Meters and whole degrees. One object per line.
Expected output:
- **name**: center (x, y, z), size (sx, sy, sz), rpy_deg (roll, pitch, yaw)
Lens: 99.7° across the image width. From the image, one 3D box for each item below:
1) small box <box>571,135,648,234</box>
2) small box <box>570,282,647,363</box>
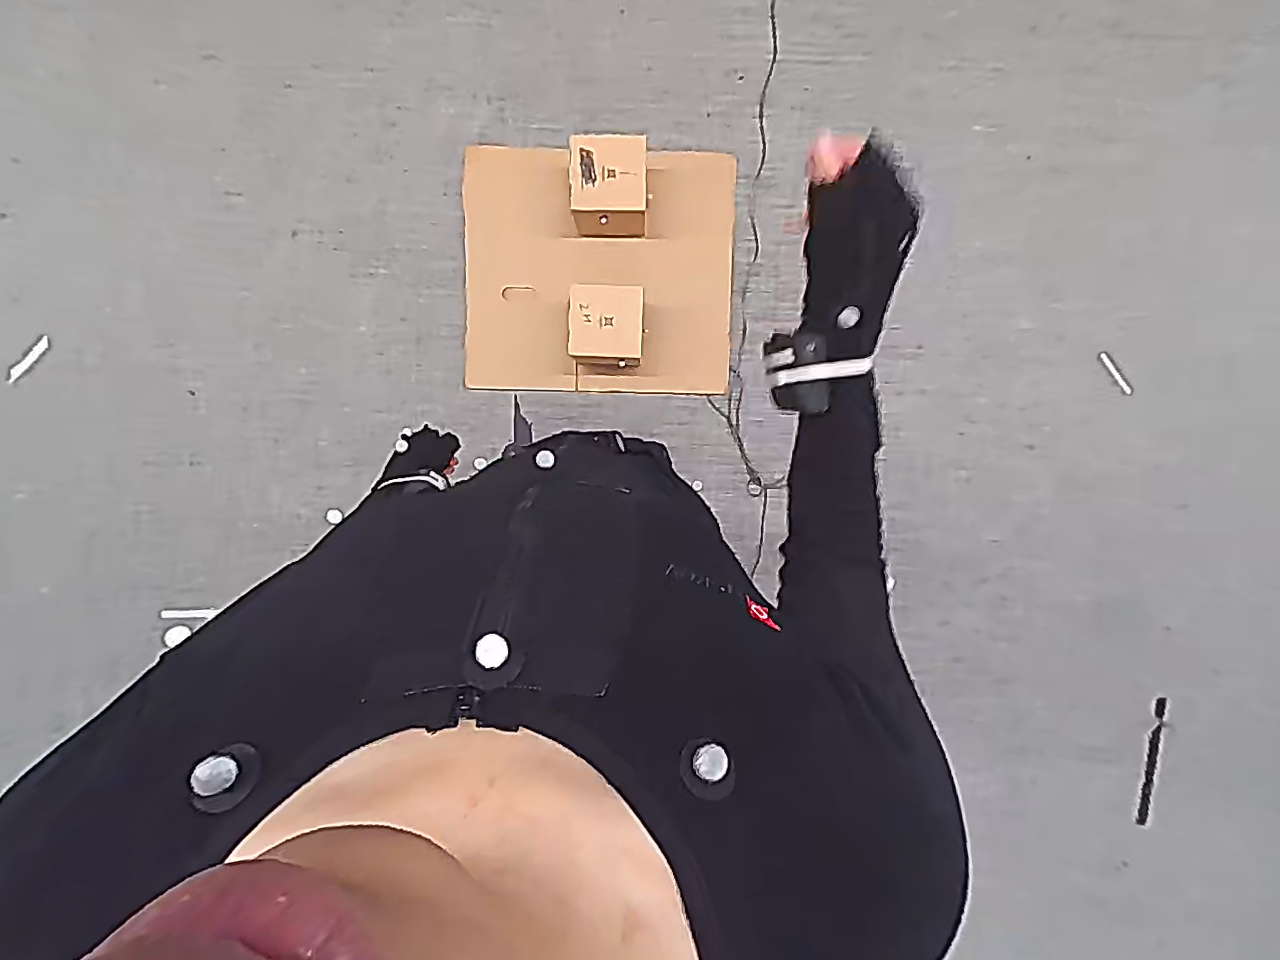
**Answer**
- **small box**: center (-0.070, -0.712, 1.318), size (0.179, 0.176, 0.168), rpy_deg (0, 96, 0)
- **small box**: center (-0.074, -0.387, 1.352), size (0.179, 0.176, 0.168), rpy_deg (3, 96, 1)
